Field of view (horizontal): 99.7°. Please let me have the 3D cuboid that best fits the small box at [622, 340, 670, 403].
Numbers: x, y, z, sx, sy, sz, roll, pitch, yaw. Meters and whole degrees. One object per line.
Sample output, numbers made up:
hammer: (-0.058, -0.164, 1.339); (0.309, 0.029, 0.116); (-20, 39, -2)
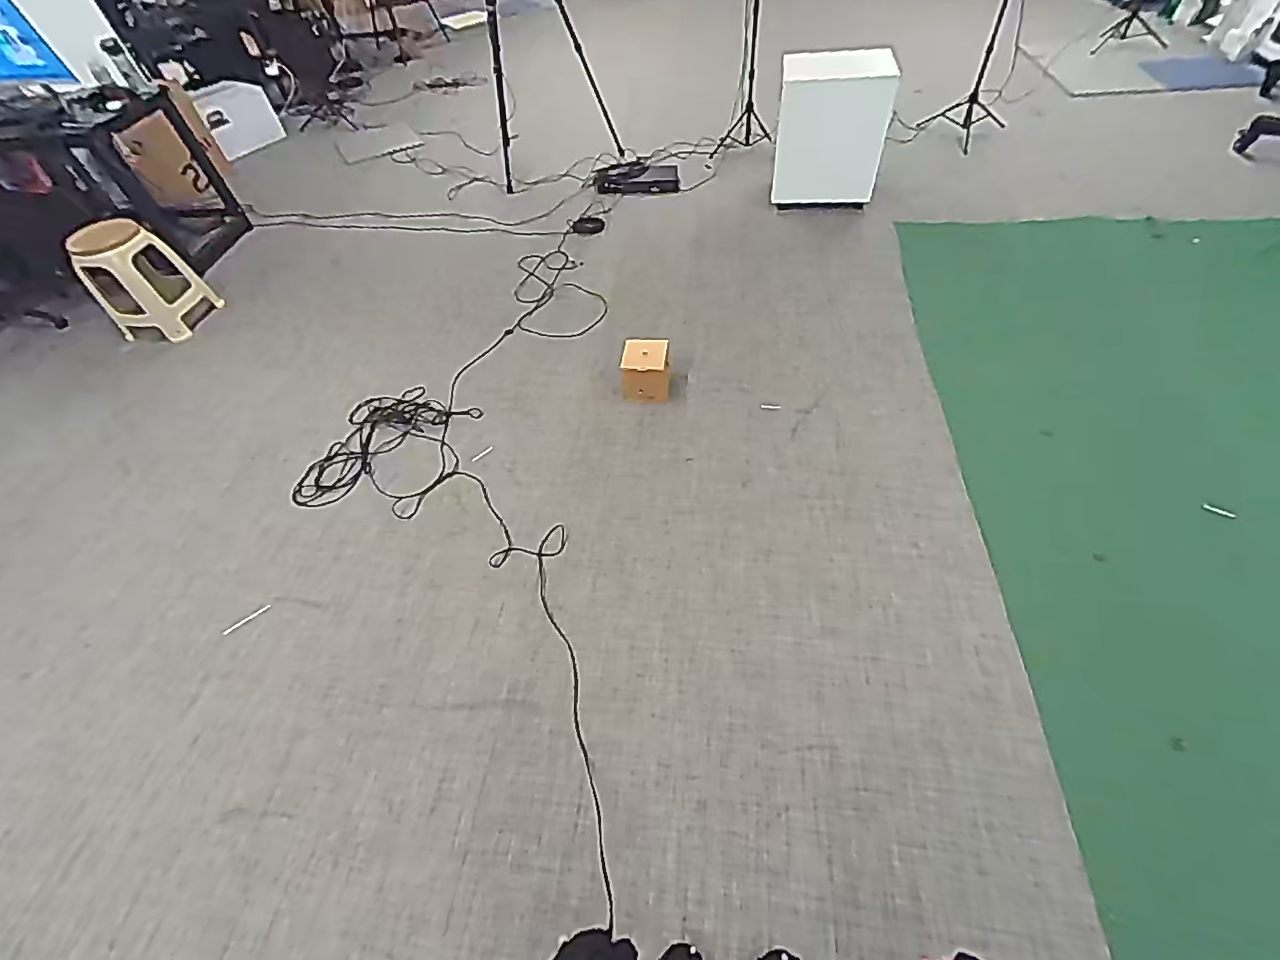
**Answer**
small box: (0.028, -0.426, 2.116); (0.168, 0.176, 0.179); (2, 52, 9)
